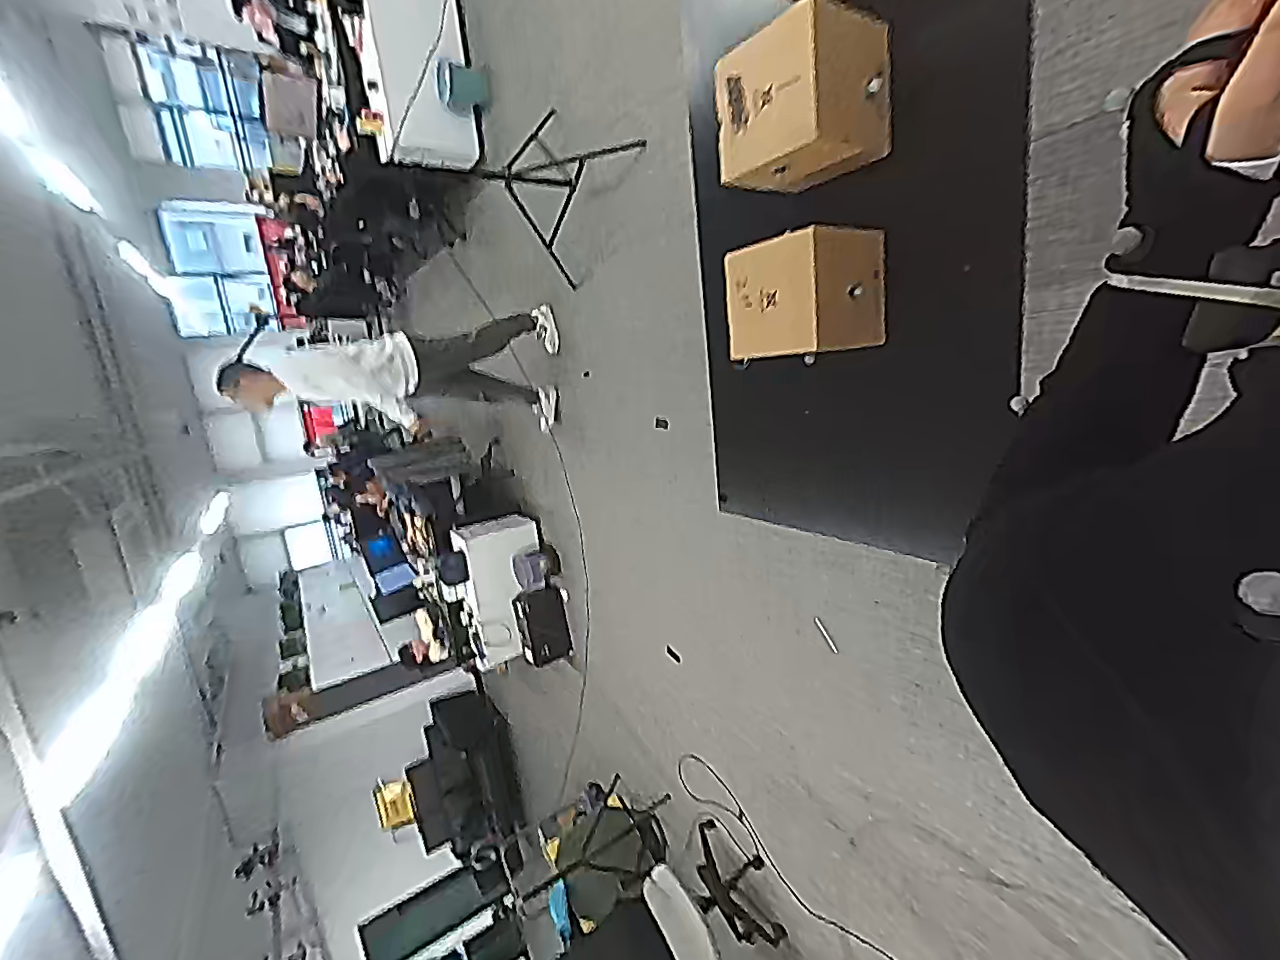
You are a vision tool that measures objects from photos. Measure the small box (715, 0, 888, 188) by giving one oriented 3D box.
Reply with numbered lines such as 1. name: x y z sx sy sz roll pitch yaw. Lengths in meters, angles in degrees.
1. small box: 0.234 -0.545 0.792 0.179 0.176 0.168 12 112 55

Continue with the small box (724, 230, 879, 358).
1. small box: 0.258 -0.288 0.856 0.179 0.176 0.168 12 111 56
